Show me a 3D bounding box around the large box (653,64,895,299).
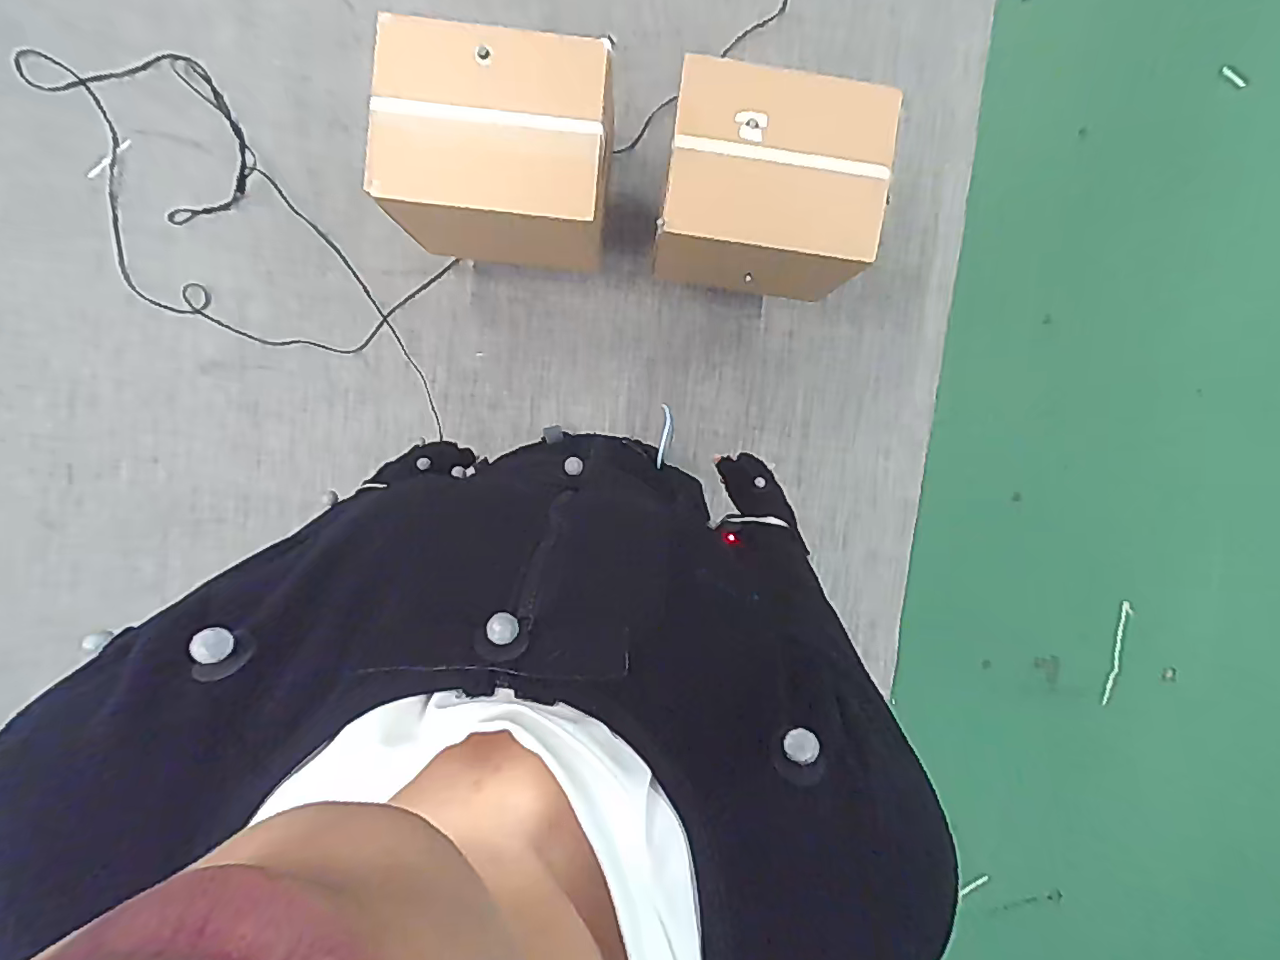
[{"bbox_3d":[0.253,-0.594,1.148,0.408,0.320,0.320,8,94,-3],"label":"large box"}]
